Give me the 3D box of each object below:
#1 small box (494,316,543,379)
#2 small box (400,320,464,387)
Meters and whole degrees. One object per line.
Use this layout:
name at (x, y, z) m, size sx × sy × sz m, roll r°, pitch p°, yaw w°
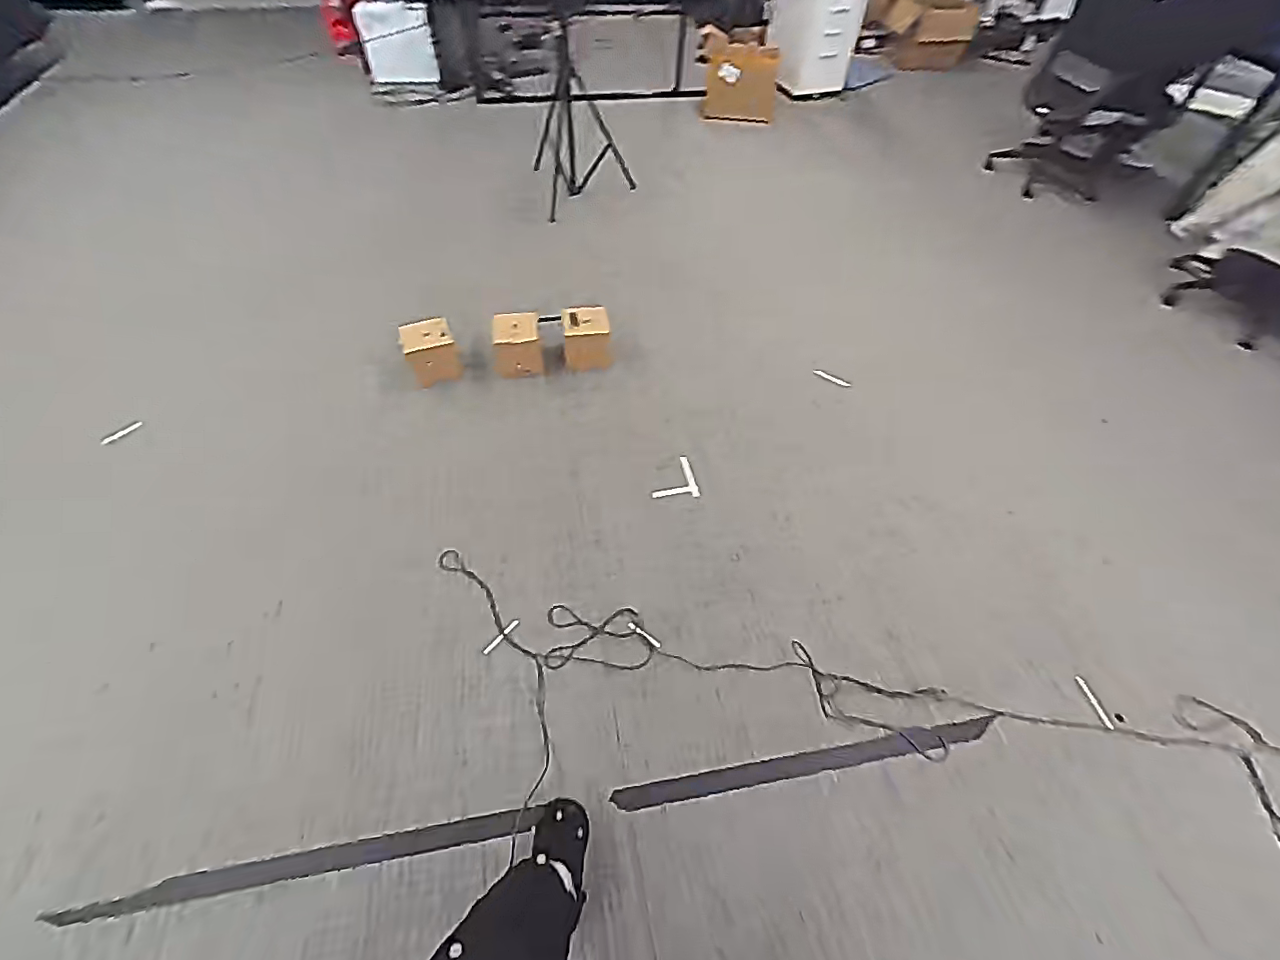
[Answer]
small box at (-0.471, -0.519, 2.114) m, size 0.168 × 0.176 × 0.179 m, roll -6°, pitch 54°, yaw -6°
small box at (-0.795, -0.480, 2.072) m, size 0.179 × 0.176 × 0.168 m, roll -18°, pitch 56°, yaw -14°
